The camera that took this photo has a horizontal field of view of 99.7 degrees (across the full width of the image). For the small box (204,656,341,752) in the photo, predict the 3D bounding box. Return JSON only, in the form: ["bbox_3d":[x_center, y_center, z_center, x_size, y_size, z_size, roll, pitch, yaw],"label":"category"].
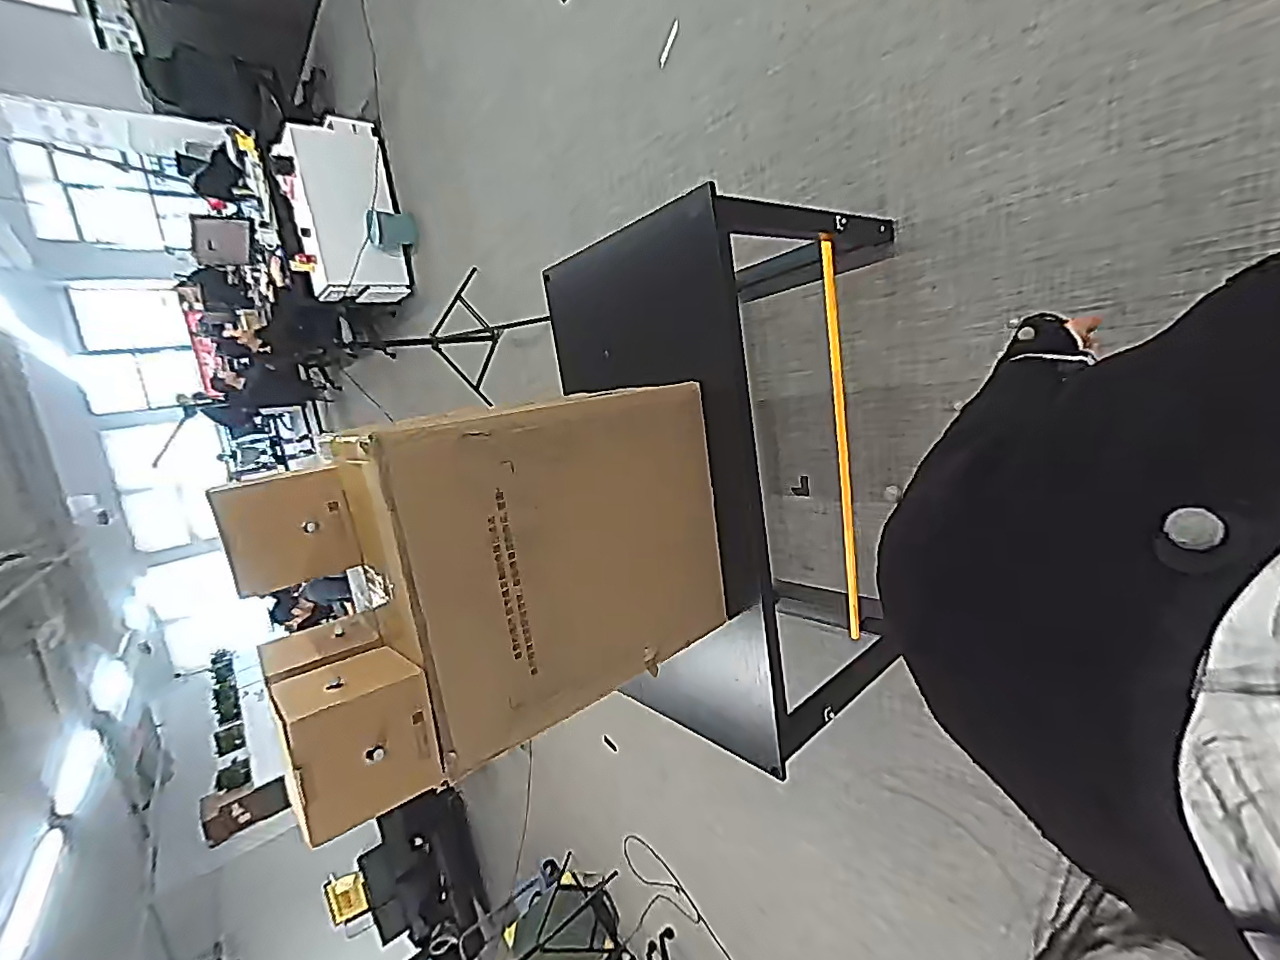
[{"bbox_3d":[-0.567,0.414,0.862,0.168,0.176,0.179,5,106,51],"label":"small box"}]

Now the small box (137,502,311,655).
[{"bbox_3d":[-0.618,0.134,0.821,0.179,0.176,0.168,3,106,53],"label":"small box"}]

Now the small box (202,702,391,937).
[{"bbox_3d":[-0.439,0.414,0.702,0.179,0.176,0.168,-4,97,49],"label":"small box"}]
